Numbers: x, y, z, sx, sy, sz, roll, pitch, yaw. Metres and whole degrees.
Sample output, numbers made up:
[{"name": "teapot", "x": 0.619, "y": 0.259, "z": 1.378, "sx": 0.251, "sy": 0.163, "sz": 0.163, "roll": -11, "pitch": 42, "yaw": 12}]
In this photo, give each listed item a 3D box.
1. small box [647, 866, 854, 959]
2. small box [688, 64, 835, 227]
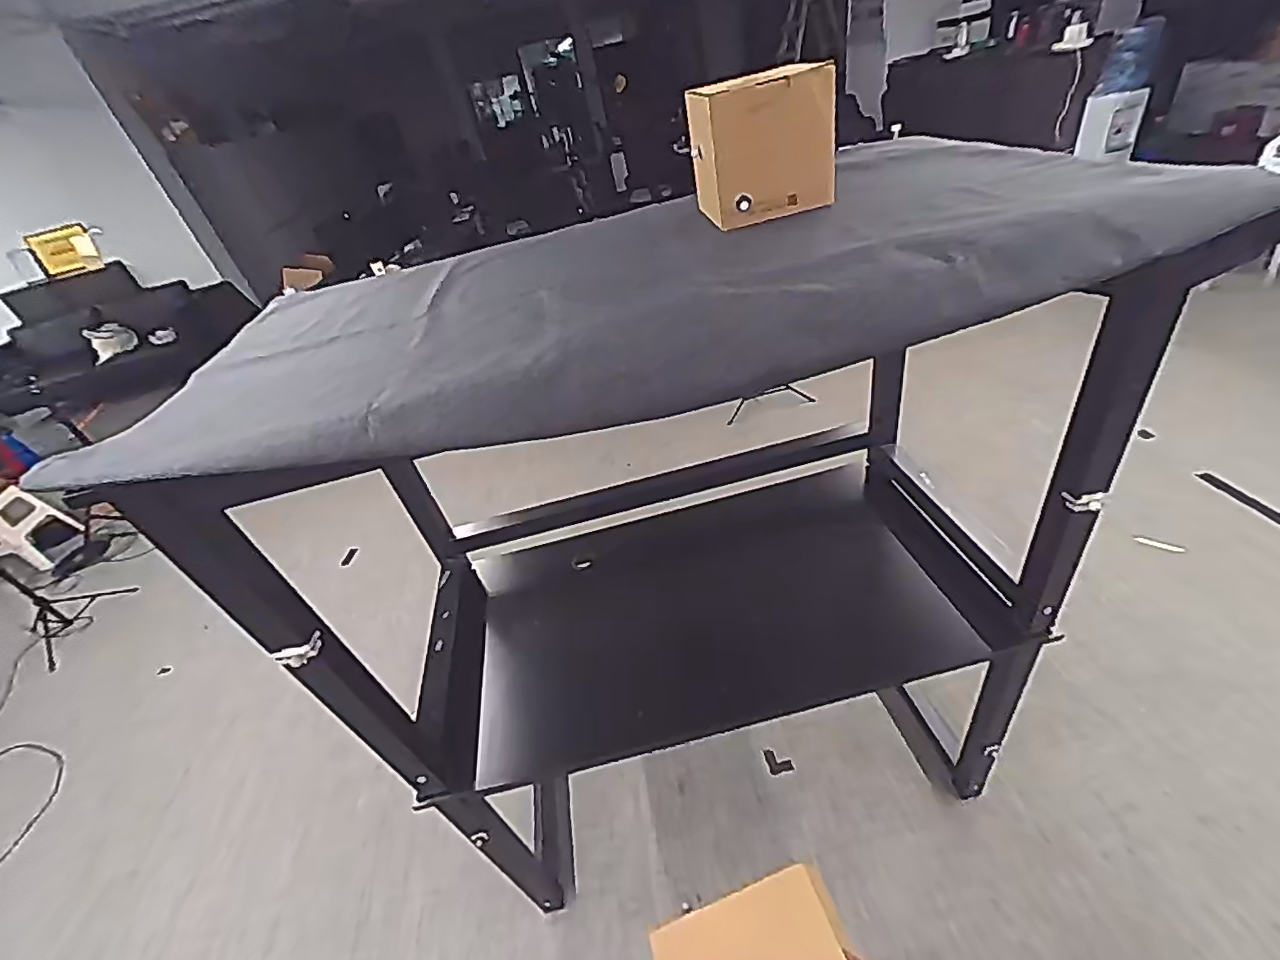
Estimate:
[{"name": "small box", "x": 0.133, "y": 0.517, "z": 0.543, "sx": 0.179, "sy": 0.176, "sz": 0.168, "roll": -28, "pitch": 47, "yaw": 3}, {"name": "small box", "x": 0.176, "y": -0.487, "z": 0.796, "sx": 0.168, "sy": 0.176, "sz": 0.179, "roll": -13, "pitch": 36, "yaw": 2}]
